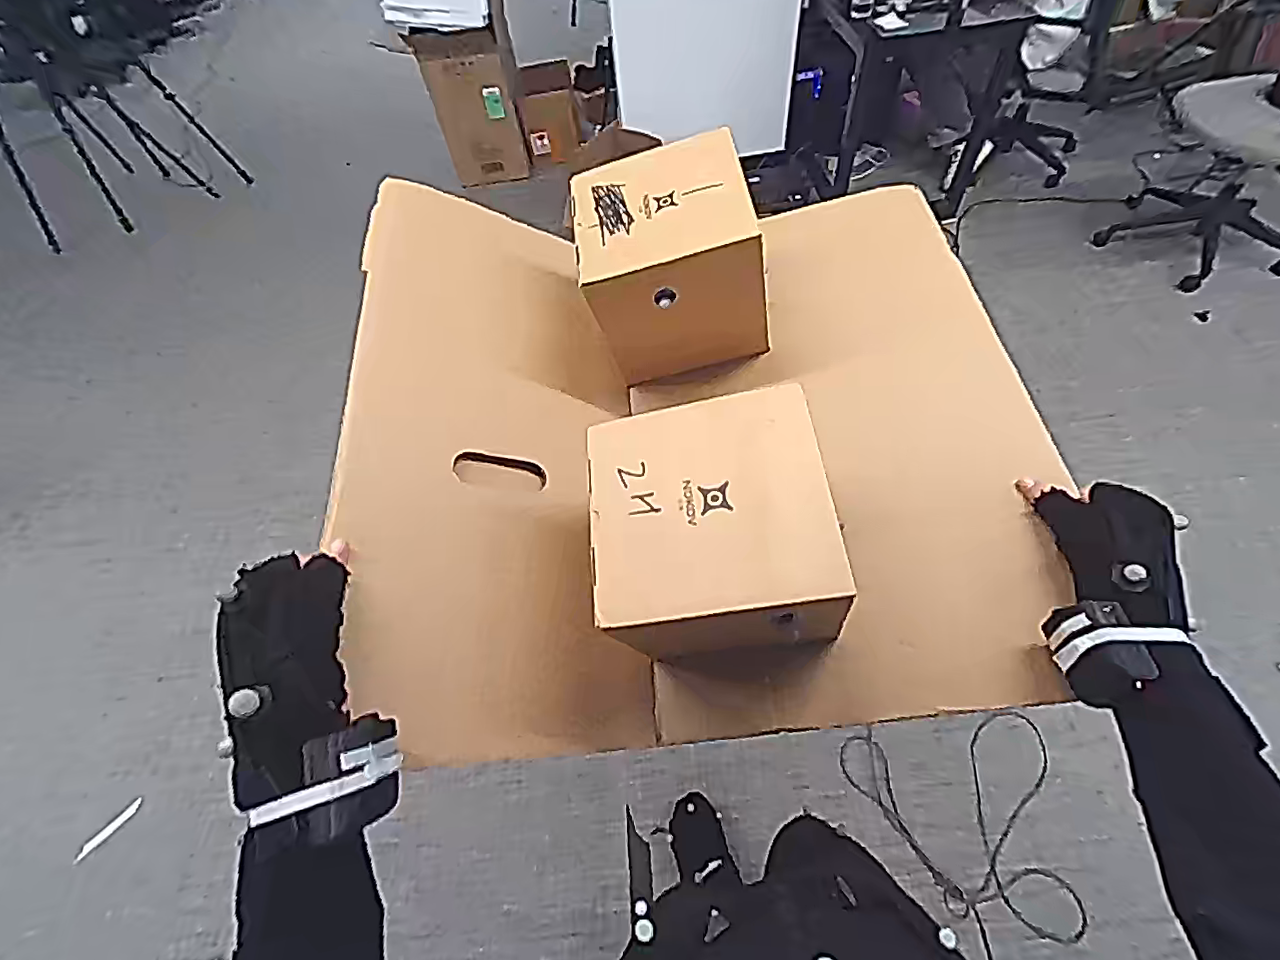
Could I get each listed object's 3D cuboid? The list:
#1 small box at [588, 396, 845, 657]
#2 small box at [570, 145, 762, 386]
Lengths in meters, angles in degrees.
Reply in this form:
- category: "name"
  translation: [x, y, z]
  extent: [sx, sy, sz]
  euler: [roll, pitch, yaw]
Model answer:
- category: "small box"
  translation: [0.065, 0.053, 0.472]
  extent: [0.179, 0.176, 0.168]
  euler: [-11, 63, 12]
- category: "small box"
  translation: [0.033, -0.230, 0.616]
  extent: [0.179, 0.176, 0.168]
  euler: [-12, 63, 10]
